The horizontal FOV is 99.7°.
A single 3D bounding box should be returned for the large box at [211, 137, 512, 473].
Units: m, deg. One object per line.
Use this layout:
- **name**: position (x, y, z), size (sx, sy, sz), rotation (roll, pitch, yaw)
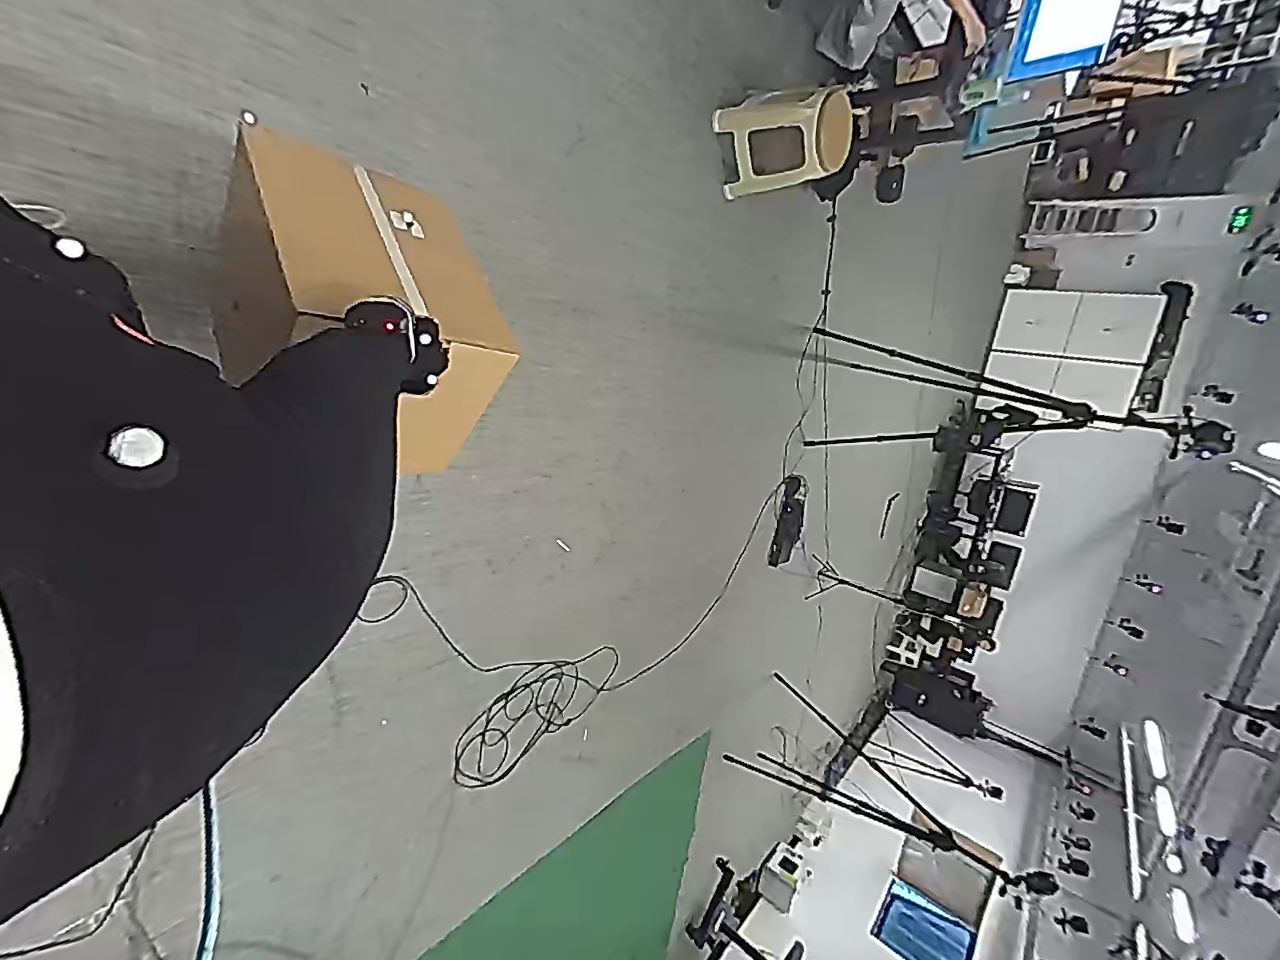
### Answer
- **large box**: position (-0.480, -0.259, 0.905), size (0.320, 0.408, 0.320), rotation (-1, 143, -49)
